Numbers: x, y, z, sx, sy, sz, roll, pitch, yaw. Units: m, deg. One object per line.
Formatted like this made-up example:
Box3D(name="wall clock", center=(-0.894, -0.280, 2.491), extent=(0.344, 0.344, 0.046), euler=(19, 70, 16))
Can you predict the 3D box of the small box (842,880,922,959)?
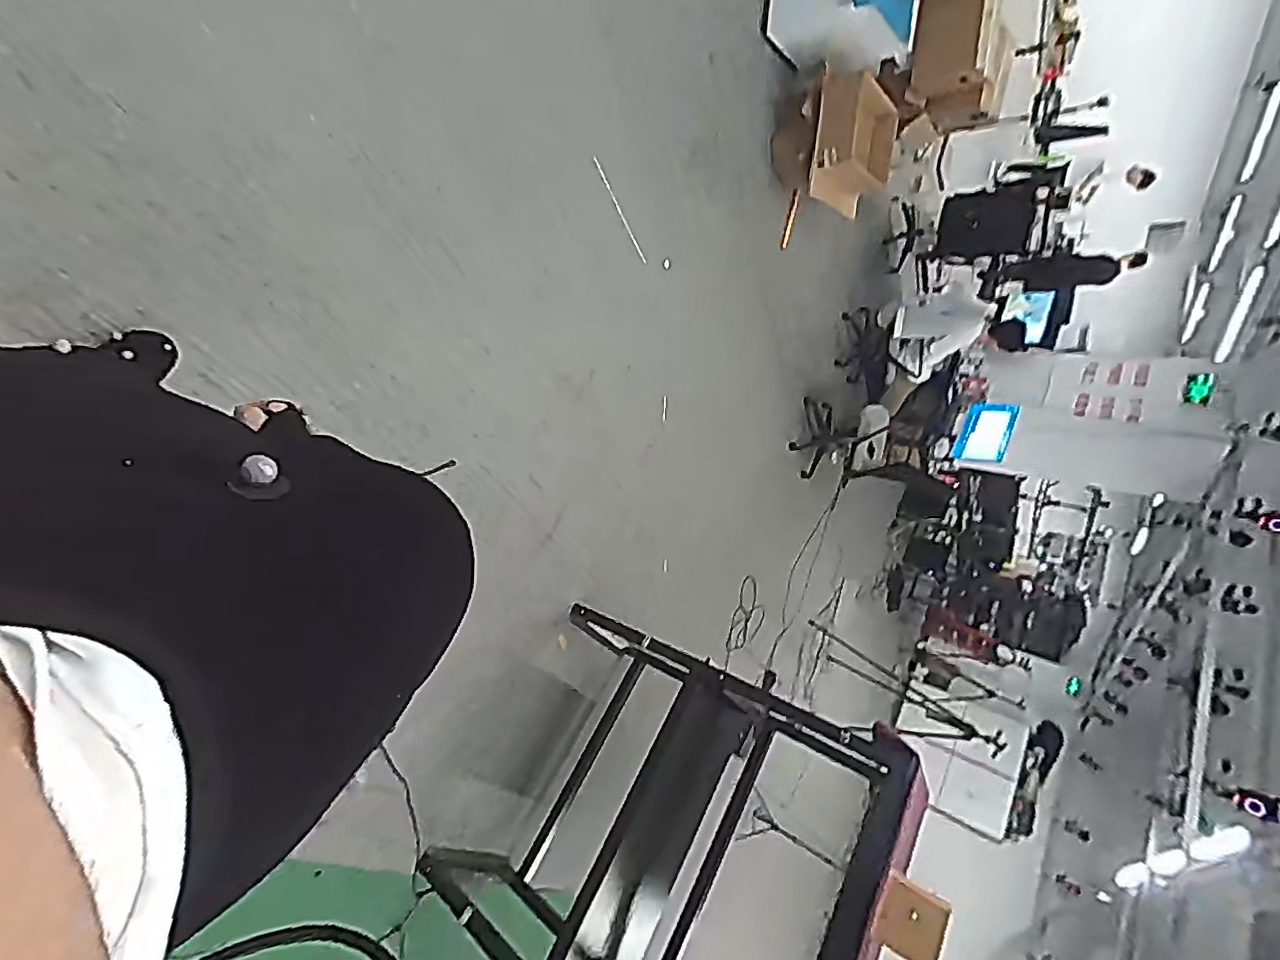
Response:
Box3D(name="small box", center=(0.681, 1.267, 1.524), extent=(0.168, 0.176, 0.179), euler=(-61, 143, -18))
